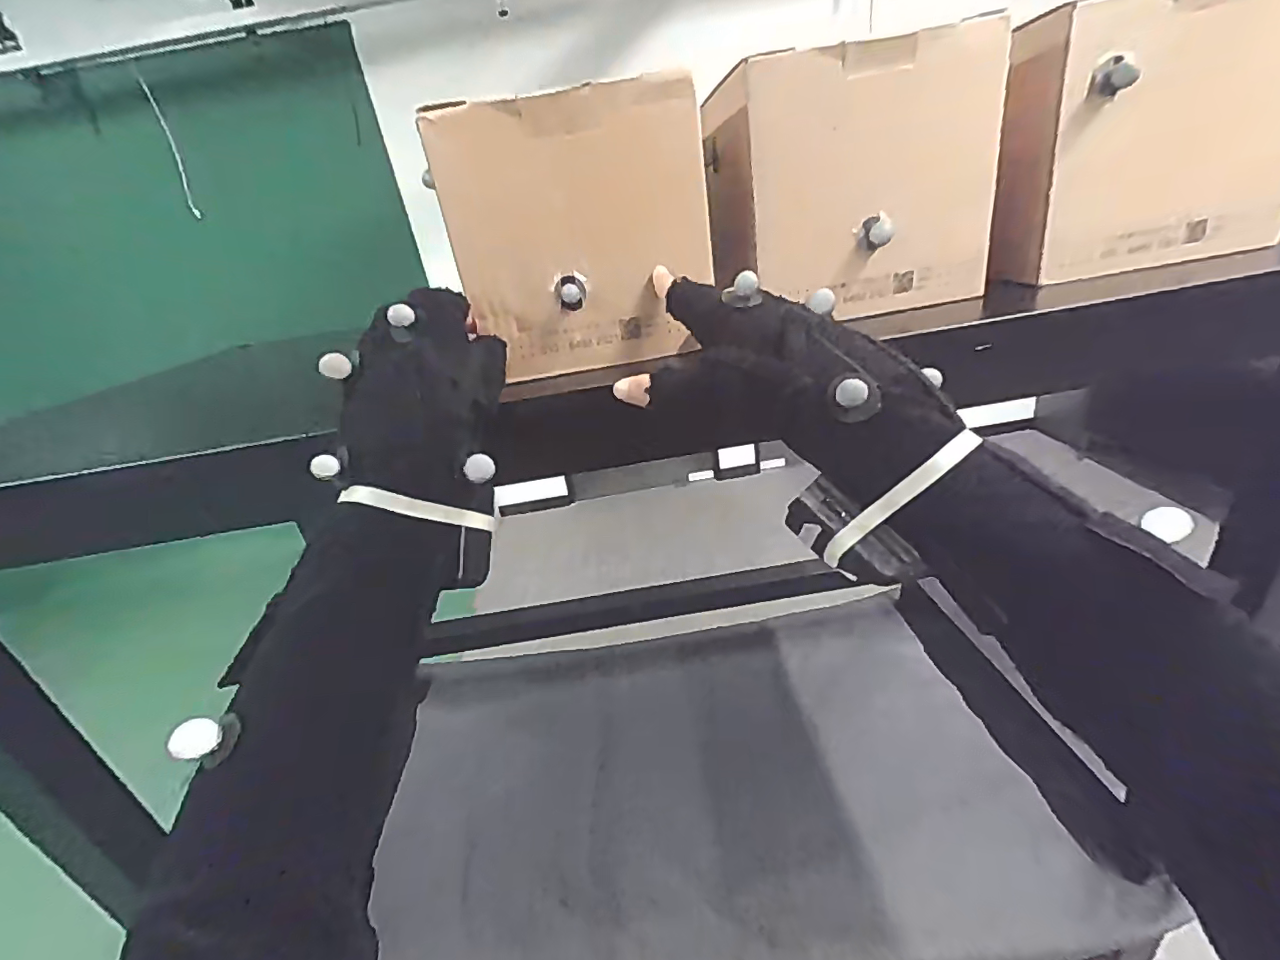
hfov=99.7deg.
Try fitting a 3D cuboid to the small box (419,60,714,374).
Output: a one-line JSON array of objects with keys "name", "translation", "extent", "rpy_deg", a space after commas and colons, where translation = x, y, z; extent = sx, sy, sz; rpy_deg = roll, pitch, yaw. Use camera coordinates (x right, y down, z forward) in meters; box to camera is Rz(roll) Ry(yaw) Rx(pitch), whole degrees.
[{"name": "small box", "translation": [-0.043, -0.189, 0.421], "extent": [0.168, 0.176, 0.179], "rpy_deg": [-10, 25, -1]}]
